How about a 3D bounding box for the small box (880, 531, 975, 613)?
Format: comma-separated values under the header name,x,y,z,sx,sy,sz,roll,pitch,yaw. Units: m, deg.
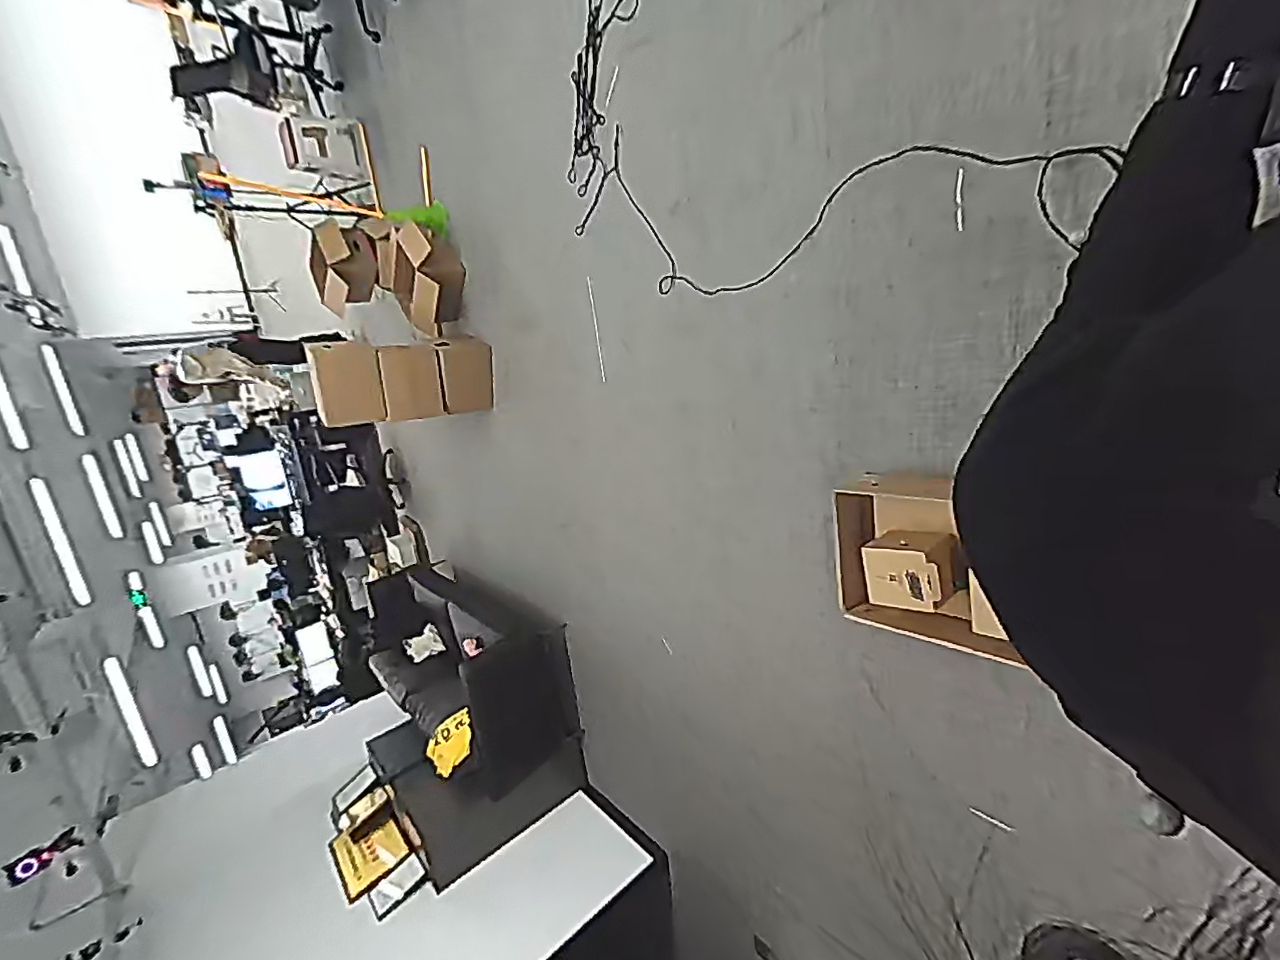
name,x,y,z,sx,sy,sz,roll,pitch,yaw
small box,0.785,0.242,1.467,0.179,0.176,0.168,-3,101,53
